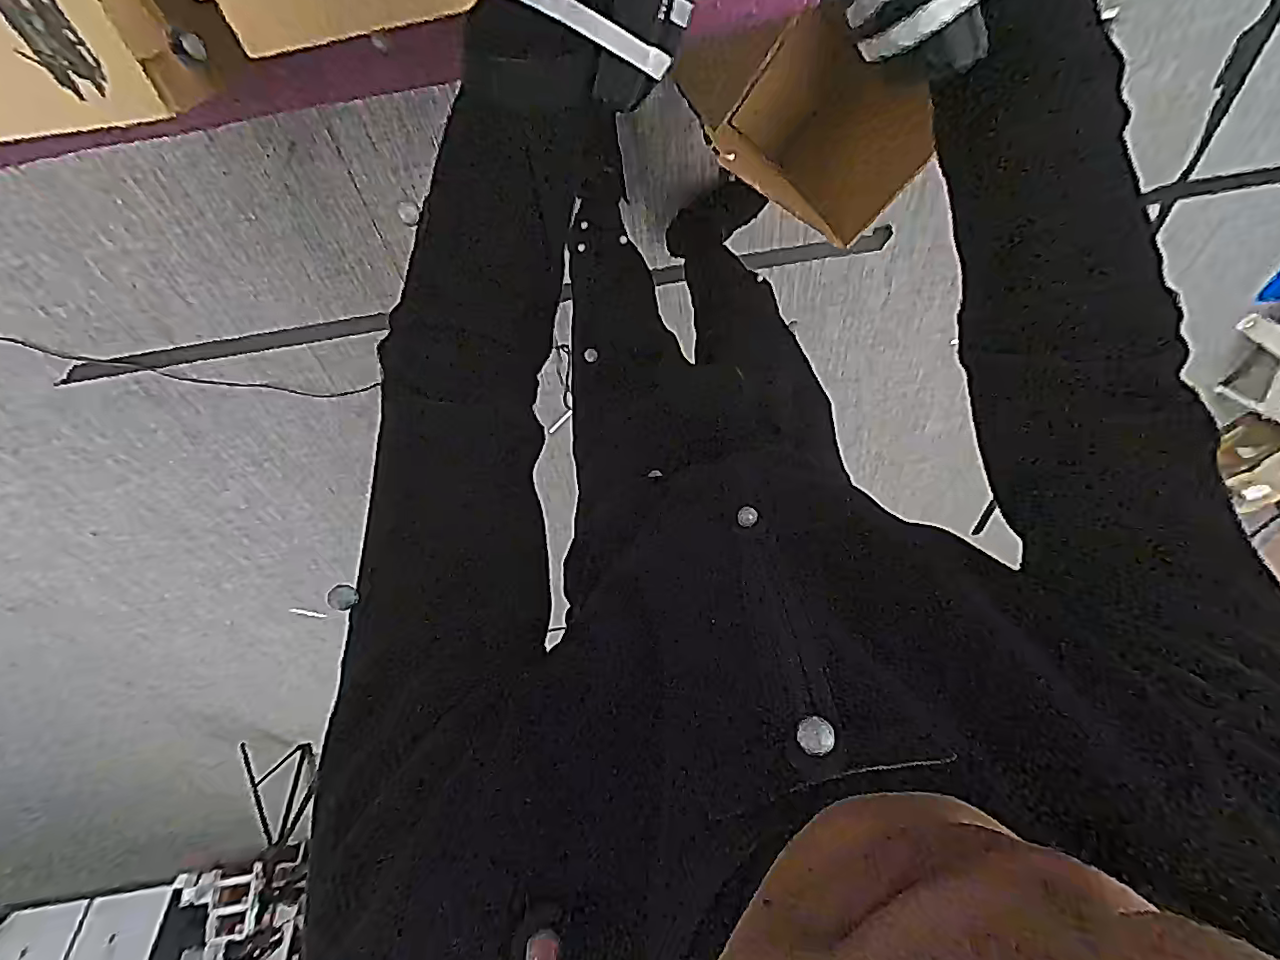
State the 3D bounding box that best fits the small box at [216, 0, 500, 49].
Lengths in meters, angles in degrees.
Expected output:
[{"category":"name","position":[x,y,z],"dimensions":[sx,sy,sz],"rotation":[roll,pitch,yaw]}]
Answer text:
[{"category":"small box","position":[-0.185,-0.397,0.335],"dimensions":[0.179,0.176,0.168],"rotation":[-11,137,1]}]
